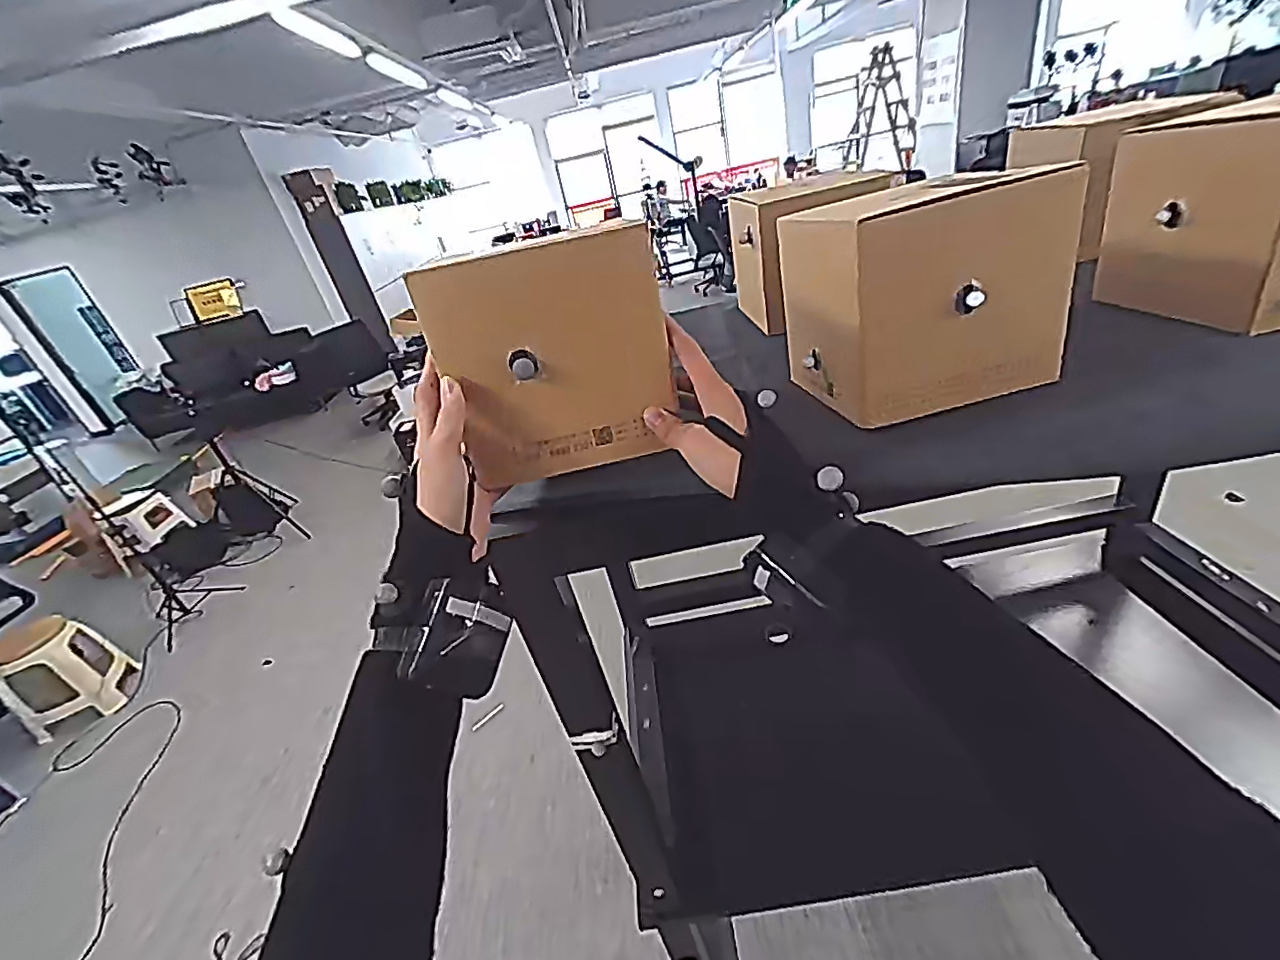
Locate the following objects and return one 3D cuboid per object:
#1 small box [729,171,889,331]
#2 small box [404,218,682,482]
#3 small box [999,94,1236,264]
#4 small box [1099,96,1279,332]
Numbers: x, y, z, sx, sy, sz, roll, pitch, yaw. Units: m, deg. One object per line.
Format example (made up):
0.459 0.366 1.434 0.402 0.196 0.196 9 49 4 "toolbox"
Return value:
0.231 -0.319 0.760 0.168 0.176 0.179 -12 30 2 "small box"
-0.068 -0.111 0.458 0.168 0.176 0.179 -13 27 -2 "small box"
0.634 -0.408 0.749 0.168 0.176 0.179 -8 30 7 "small box"
0.574 -0.243 0.489 0.168 0.176 0.179 -12 28 4 "small box"
